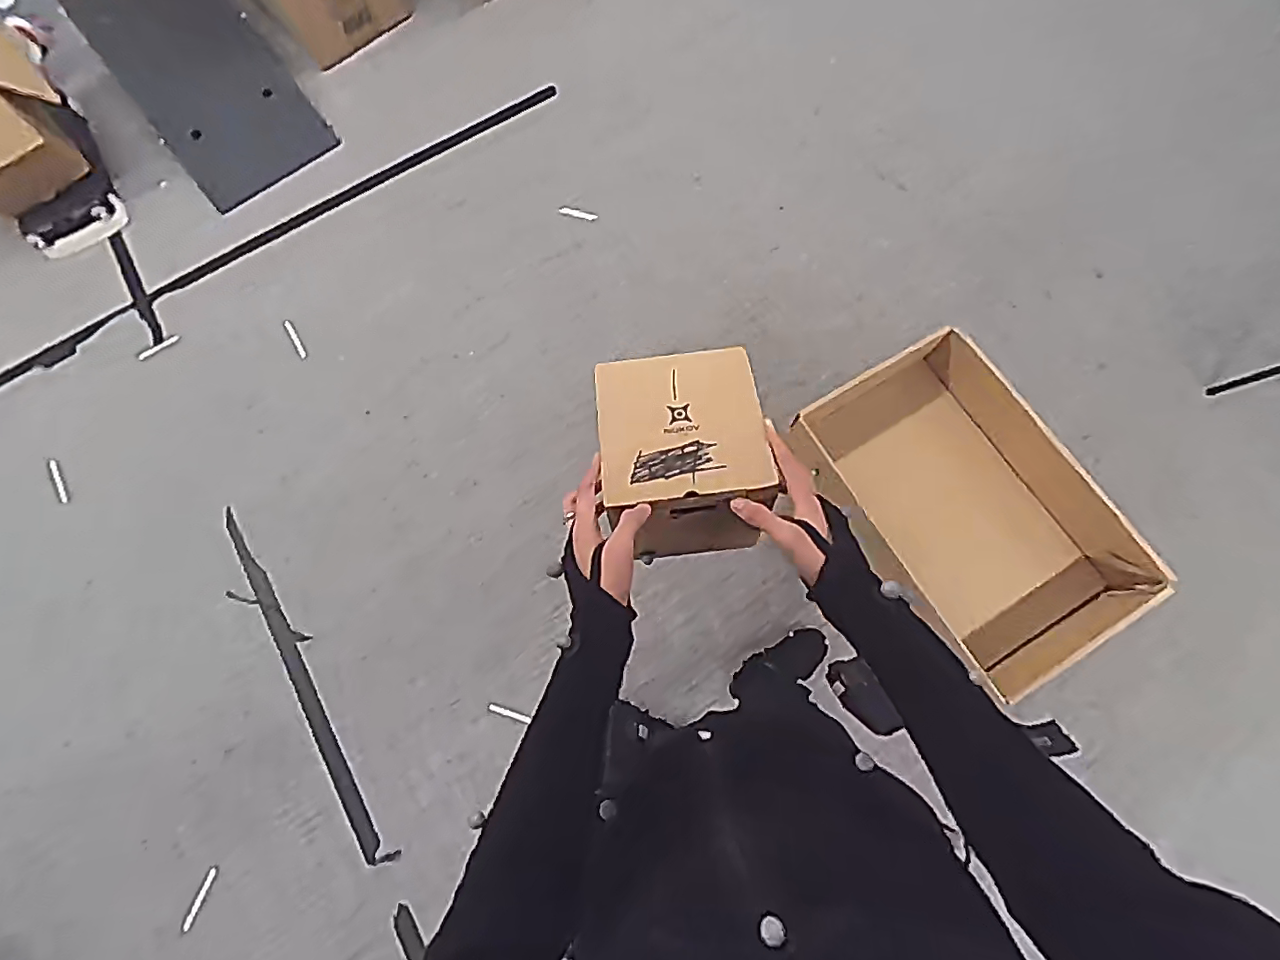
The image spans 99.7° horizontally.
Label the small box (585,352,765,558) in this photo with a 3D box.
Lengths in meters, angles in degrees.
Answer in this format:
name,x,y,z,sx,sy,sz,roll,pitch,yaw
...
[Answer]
name,x,y,z,sx,sy,sz,roll,pitch,yaw
small box,0.036,-0.017,0.615,0.168,0.176,0.179,-7,65,0
